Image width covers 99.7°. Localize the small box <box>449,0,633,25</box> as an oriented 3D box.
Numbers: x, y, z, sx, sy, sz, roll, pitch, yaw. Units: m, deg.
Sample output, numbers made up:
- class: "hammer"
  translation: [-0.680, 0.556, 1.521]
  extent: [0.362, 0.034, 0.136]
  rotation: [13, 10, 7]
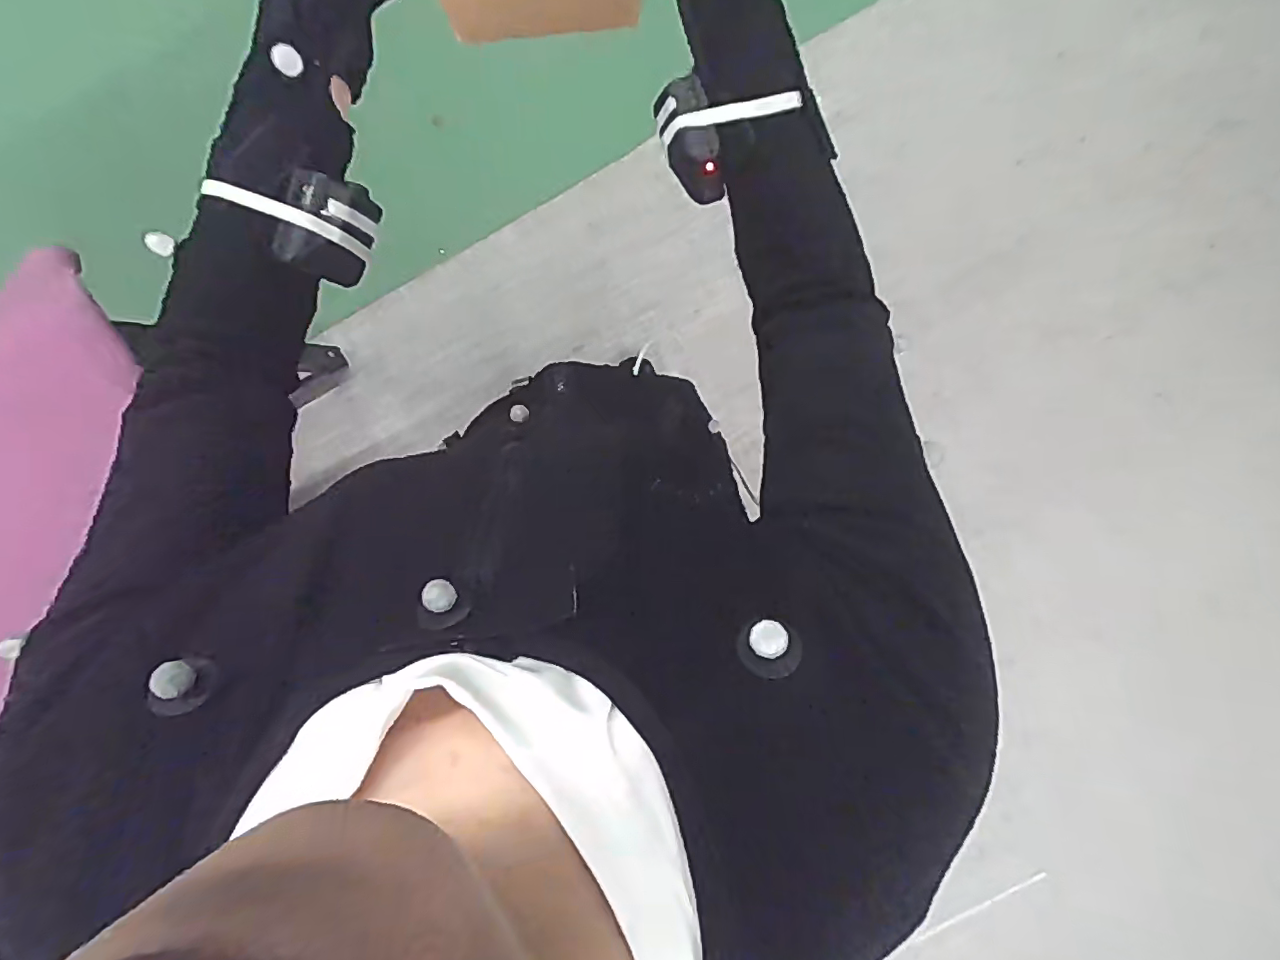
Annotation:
- class: "small box"
  translation: [-0.089, -0.488, 0.410]
  extent: [0.179, 0.176, 0.168]
  rotation: [-8, 104, -2]
